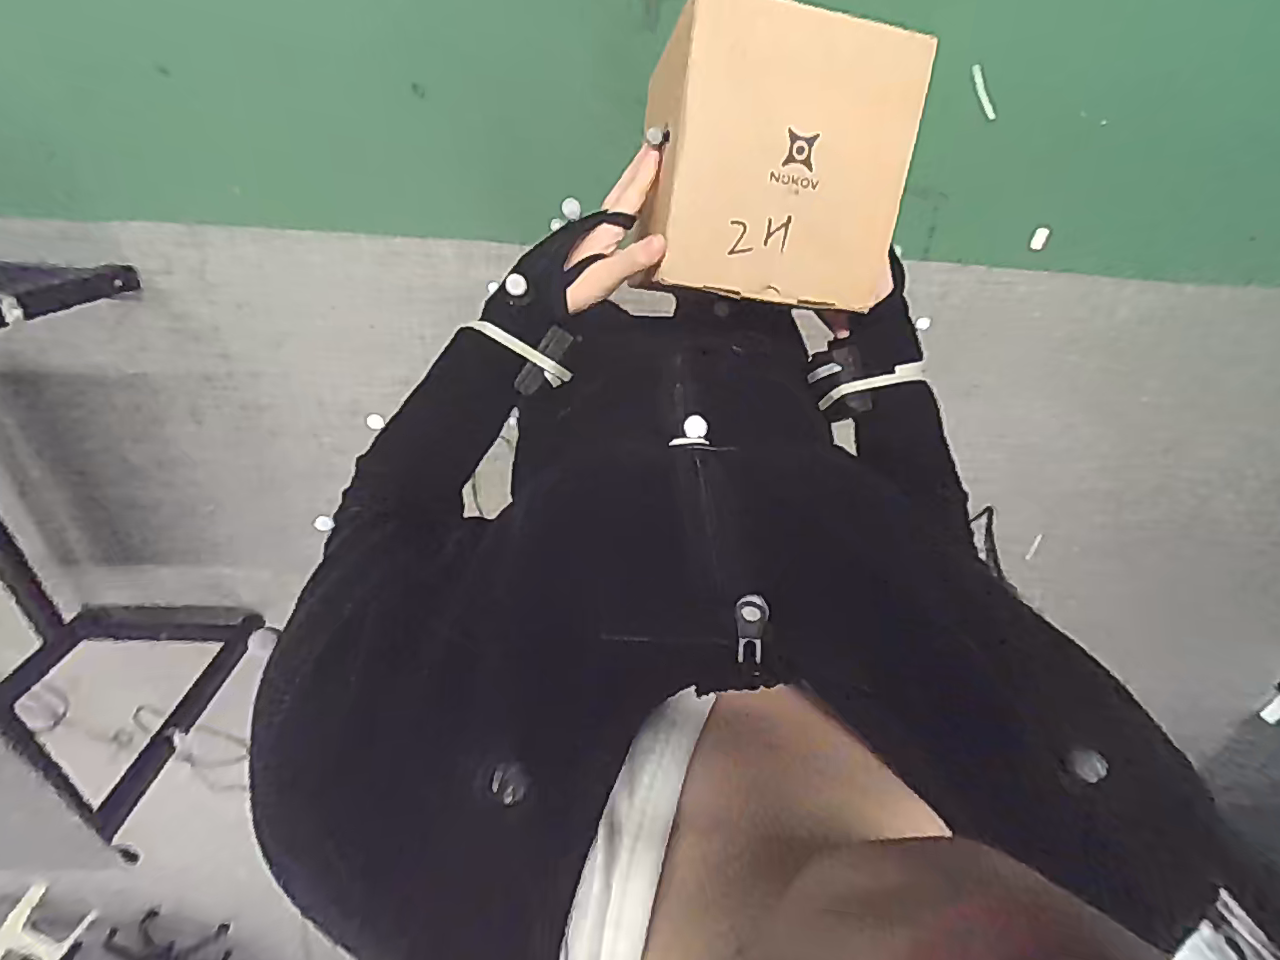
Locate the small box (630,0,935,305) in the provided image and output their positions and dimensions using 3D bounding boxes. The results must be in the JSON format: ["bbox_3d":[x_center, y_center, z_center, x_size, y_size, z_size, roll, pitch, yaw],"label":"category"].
[{"bbox_3d":[0.090,-0.242,0.435,0.168,0.176,0.179,4,107,-11],"label":"small box"}]
